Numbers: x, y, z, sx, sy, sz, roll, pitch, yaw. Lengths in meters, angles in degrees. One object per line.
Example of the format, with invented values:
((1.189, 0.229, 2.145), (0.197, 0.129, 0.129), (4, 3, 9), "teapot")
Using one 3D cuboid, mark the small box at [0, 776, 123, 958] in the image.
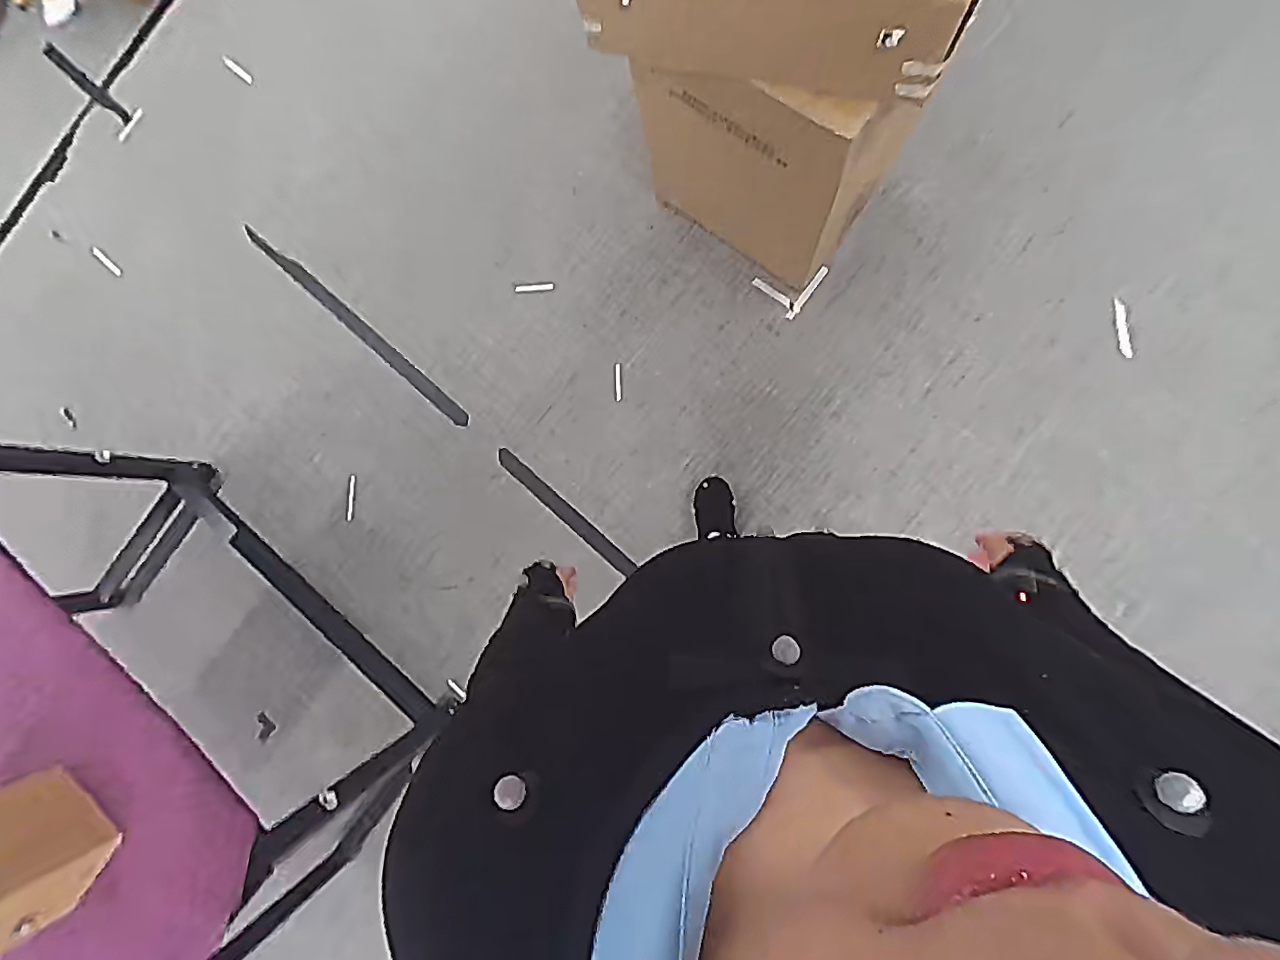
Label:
((-0.969, 0.601, 0.831), (0.179, 0.176, 0.168), (36, 92, 10), "small box")
